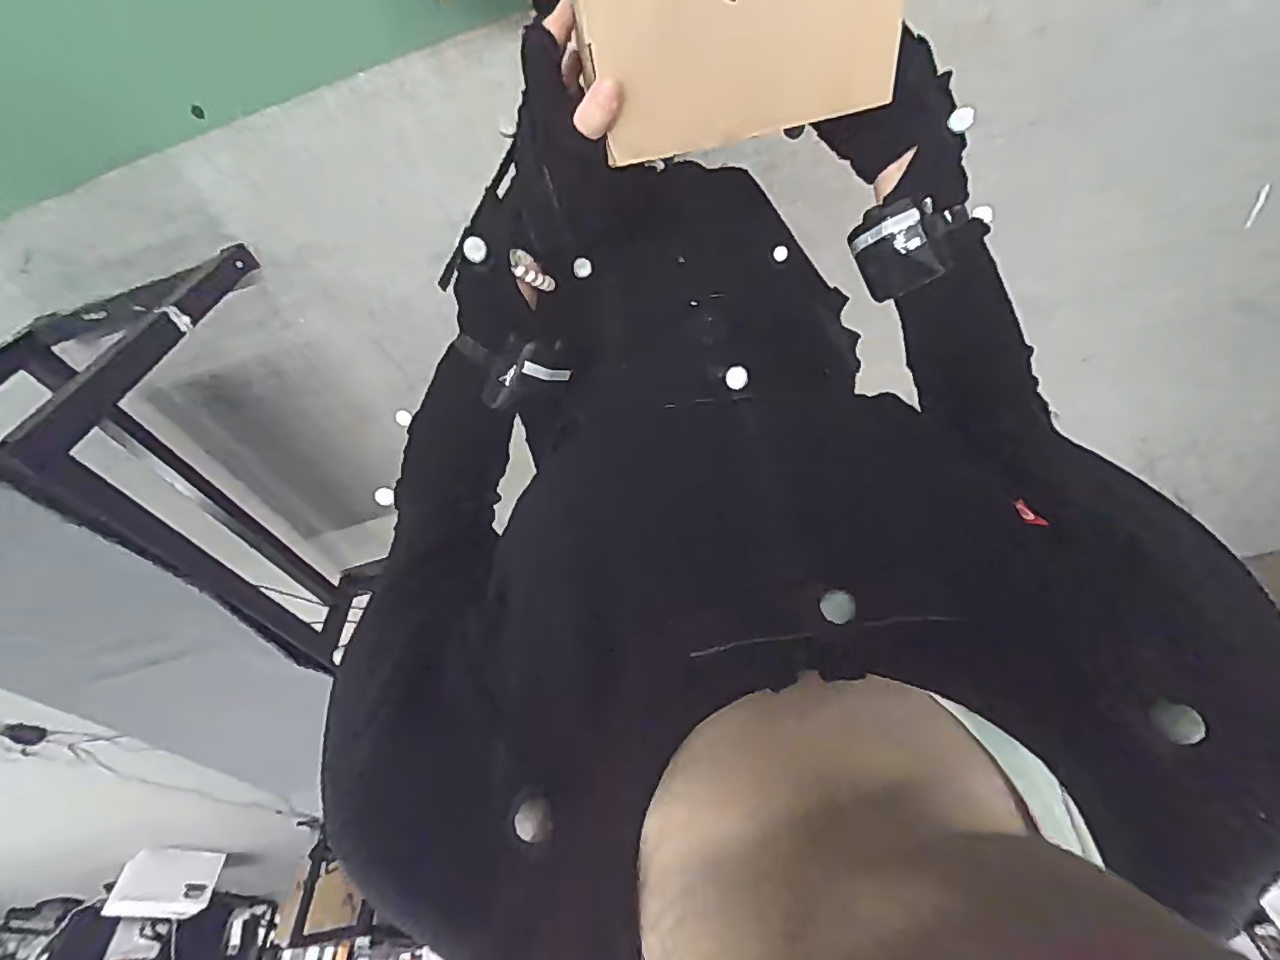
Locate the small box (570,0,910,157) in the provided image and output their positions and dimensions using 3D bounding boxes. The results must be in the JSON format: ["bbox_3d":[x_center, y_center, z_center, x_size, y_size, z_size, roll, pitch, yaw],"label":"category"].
[{"bbox_3d":[0.044,-0.322,0.324,0.179,0.176,0.168,-12,134,1],"label":"small box"}]
